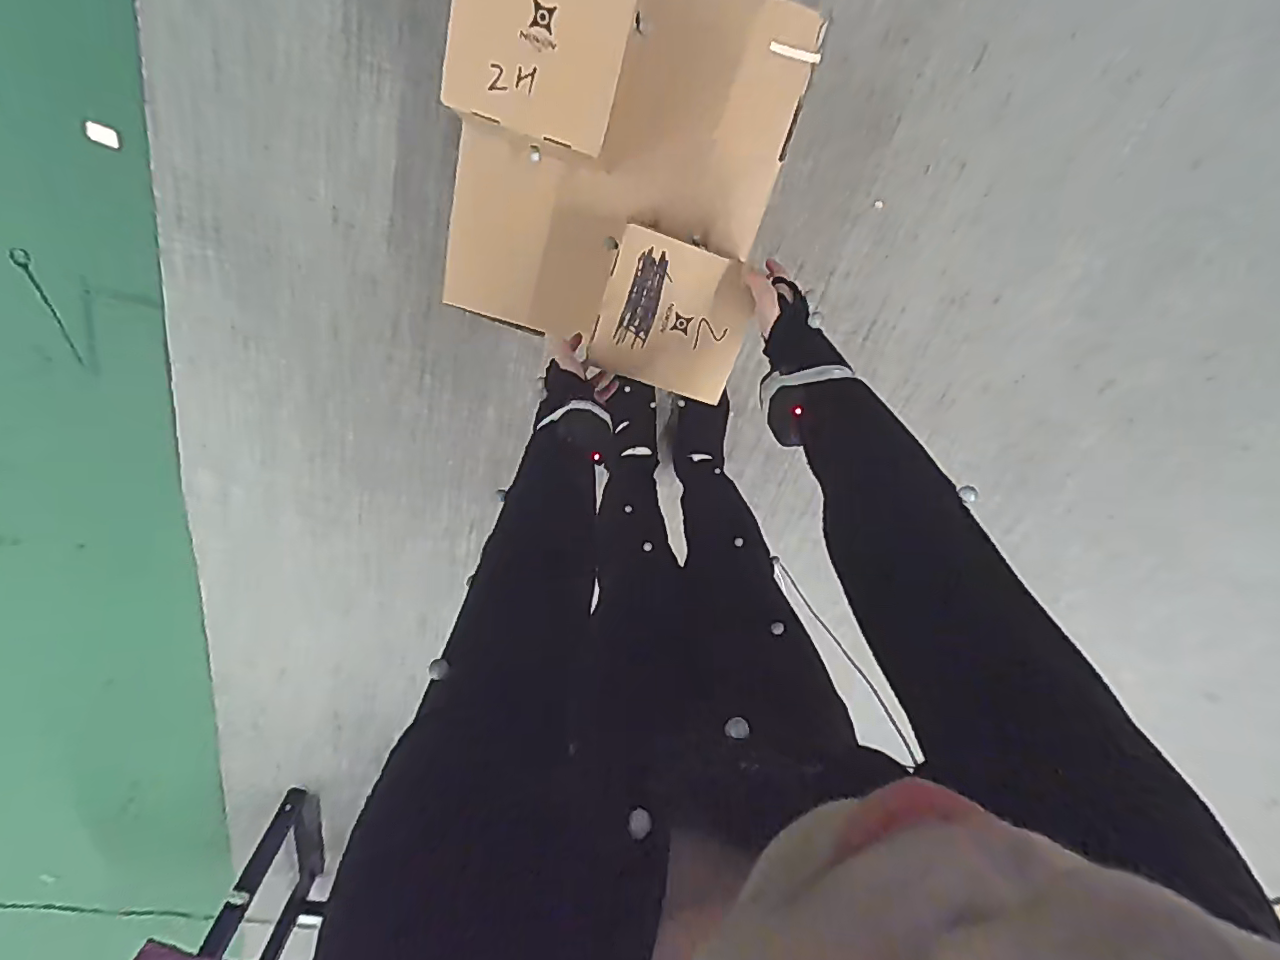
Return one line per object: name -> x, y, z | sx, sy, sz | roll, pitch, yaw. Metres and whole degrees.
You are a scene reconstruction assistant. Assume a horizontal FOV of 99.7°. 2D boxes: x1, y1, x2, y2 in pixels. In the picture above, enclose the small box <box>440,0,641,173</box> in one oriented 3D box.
small box -> -0.099, -0.460, 0.586 | 0.168, 0.176, 0.179 | 15, 113, -8
